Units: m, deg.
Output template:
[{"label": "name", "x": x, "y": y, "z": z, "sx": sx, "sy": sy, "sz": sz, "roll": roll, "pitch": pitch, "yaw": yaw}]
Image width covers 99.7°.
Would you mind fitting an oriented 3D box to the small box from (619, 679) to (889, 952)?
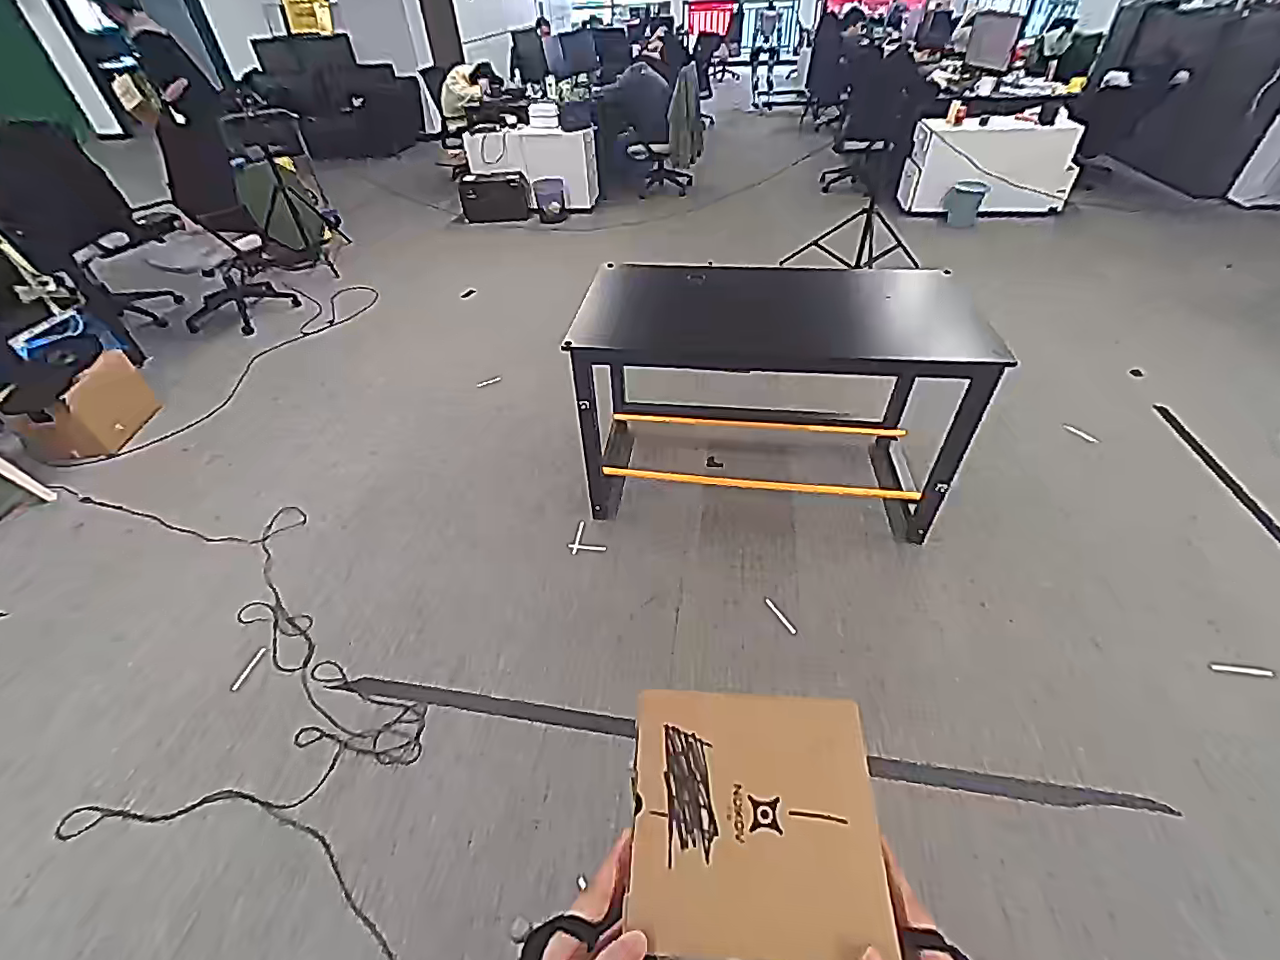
[{"label": "small box", "x": 0.080, "y": 0.282, "z": 0.457, "sx": 0.179, "sy": 0.176, "sz": 0.168, "roll": 2, "pitch": 52, "yaw": 3}]
